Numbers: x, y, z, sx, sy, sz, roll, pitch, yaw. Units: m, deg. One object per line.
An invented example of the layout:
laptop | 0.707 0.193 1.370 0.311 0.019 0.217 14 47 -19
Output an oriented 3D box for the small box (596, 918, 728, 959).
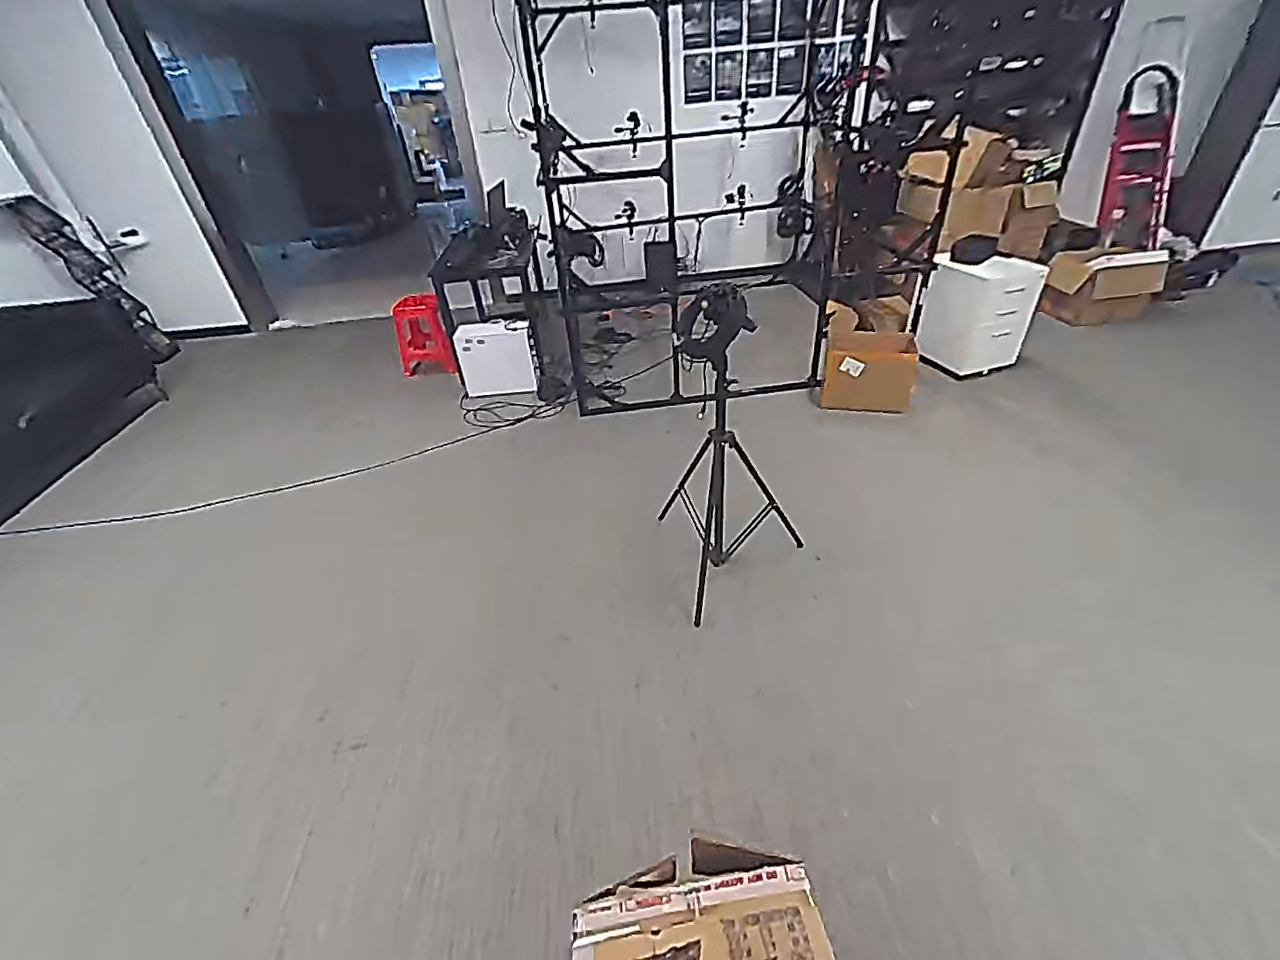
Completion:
small box | 0.040 0.695 0.679 0.168 0.176 0.179 -9 40 -4
